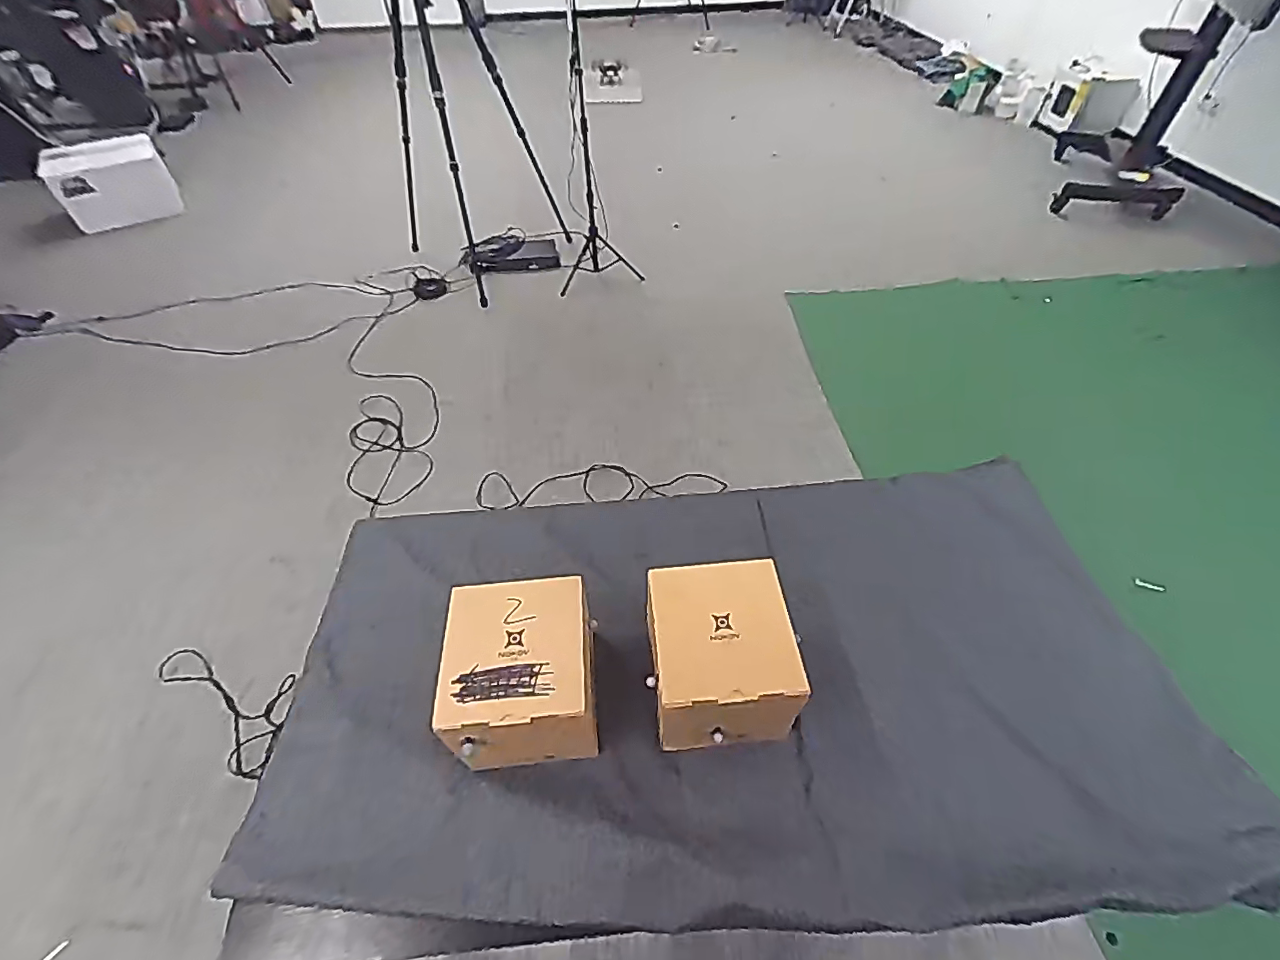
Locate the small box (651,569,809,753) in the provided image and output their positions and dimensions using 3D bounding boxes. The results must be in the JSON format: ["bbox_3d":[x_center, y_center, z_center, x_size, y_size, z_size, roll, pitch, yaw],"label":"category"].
[{"bbox_3d":[0.103,0.240,0.717,0.168,0.176,0.179,-5,50,-3],"label":"small box"}]
